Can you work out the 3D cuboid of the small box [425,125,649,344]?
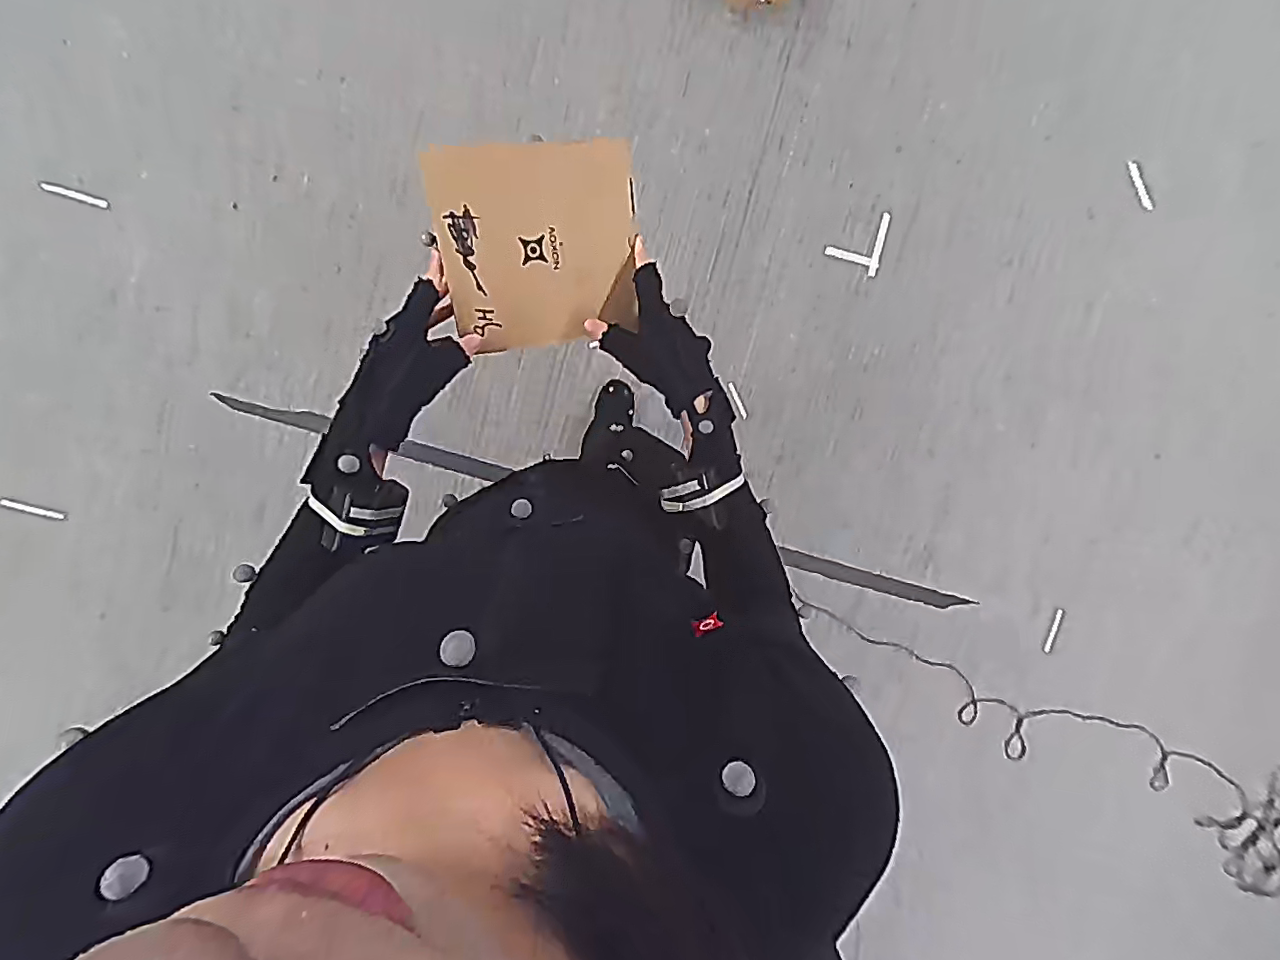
[{"bbox_3d":[-0.103,-0.242,0.535,0.179,0.176,0.168,-12,117,-14],"label":"small box"}]

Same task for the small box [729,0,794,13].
[{"bbox_3d":[0.316,-1.311,1.335,0.168,0.176,0.179,-4,96,-4],"label":"small box"}]
